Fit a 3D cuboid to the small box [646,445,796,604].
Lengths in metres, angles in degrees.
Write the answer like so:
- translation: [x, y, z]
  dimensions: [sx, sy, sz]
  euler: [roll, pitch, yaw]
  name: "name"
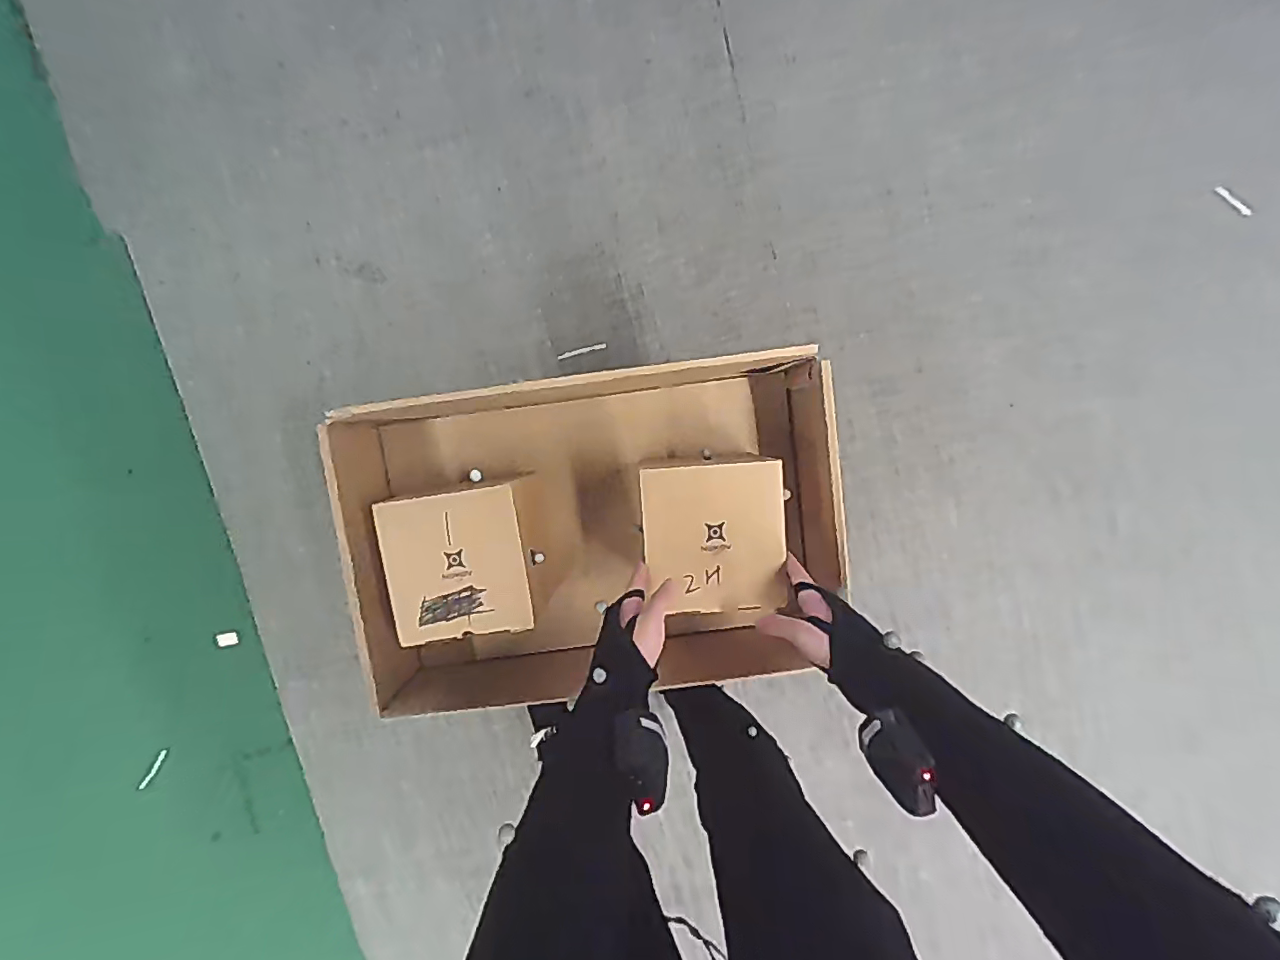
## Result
- translation: [0.095, 0.045, 0.696]
  dimensions: [0.168, 0.176, 0.179]
  euler: [-4, 97, 1]
  name: "small box"
